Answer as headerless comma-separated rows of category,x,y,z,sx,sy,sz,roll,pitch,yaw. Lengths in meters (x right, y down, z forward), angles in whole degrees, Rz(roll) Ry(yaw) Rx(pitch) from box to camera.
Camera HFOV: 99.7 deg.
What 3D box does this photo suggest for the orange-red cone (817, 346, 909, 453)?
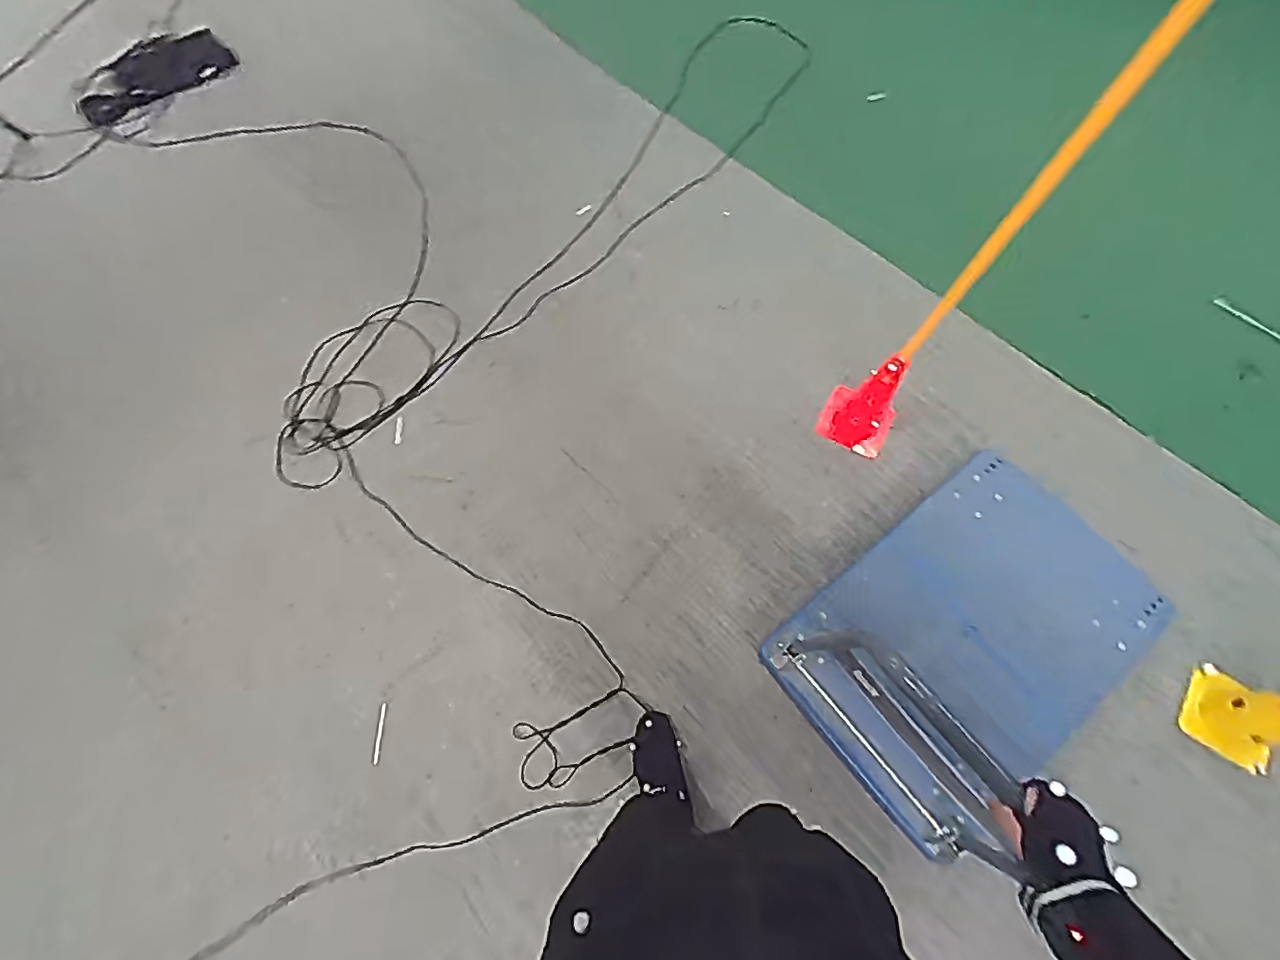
orange-red cone,0.673,-0.260,1.543,0.199,0.360,0.198,29,71,13
